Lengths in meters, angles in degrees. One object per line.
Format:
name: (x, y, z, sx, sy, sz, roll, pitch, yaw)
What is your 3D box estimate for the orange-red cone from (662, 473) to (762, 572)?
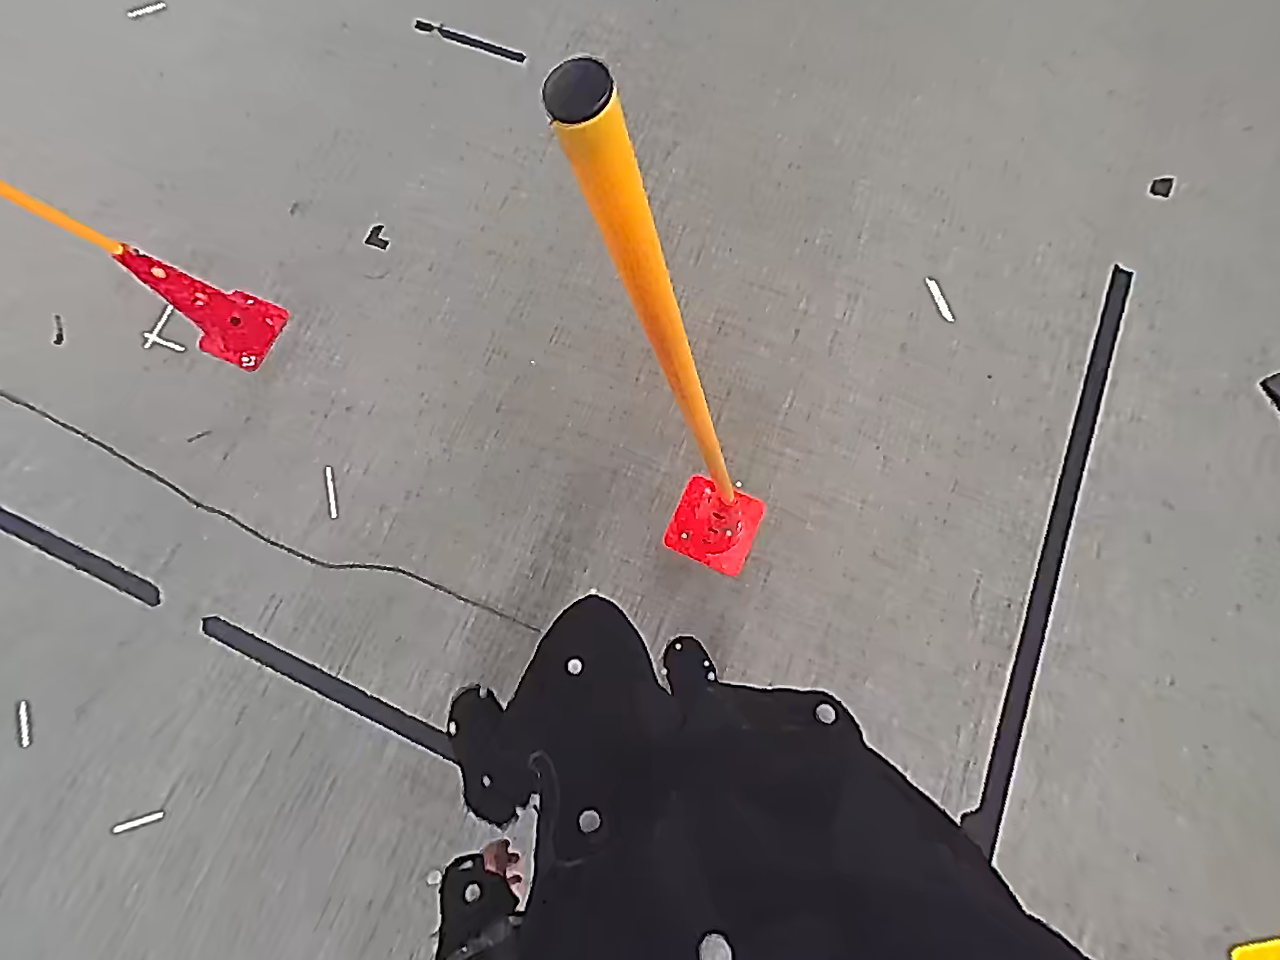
orange-red cone: (0.165, 0.064, 1.143, 0.199, 0.360, 0.198, 25, 80, 8)
